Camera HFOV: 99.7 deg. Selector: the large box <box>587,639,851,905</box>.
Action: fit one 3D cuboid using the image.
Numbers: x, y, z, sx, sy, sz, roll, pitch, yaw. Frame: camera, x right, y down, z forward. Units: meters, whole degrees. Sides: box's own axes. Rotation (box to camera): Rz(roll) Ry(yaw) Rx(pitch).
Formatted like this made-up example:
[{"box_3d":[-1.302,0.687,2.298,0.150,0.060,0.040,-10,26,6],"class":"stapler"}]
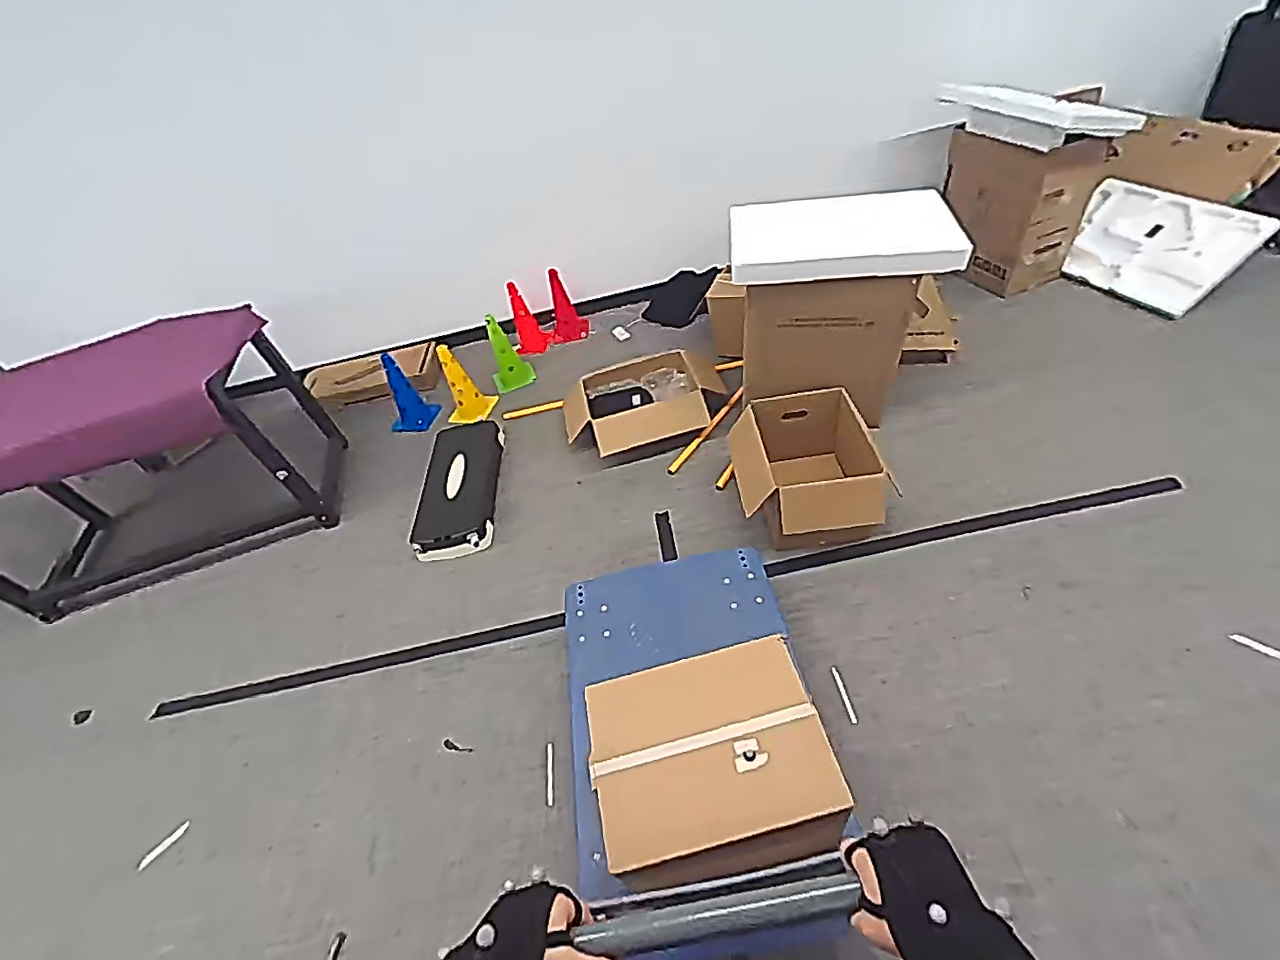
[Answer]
[{"box_3d":[0.140,0.573,1.063,0.408,0.320,0.320,-15,45,-3],"class":"large box"}]
